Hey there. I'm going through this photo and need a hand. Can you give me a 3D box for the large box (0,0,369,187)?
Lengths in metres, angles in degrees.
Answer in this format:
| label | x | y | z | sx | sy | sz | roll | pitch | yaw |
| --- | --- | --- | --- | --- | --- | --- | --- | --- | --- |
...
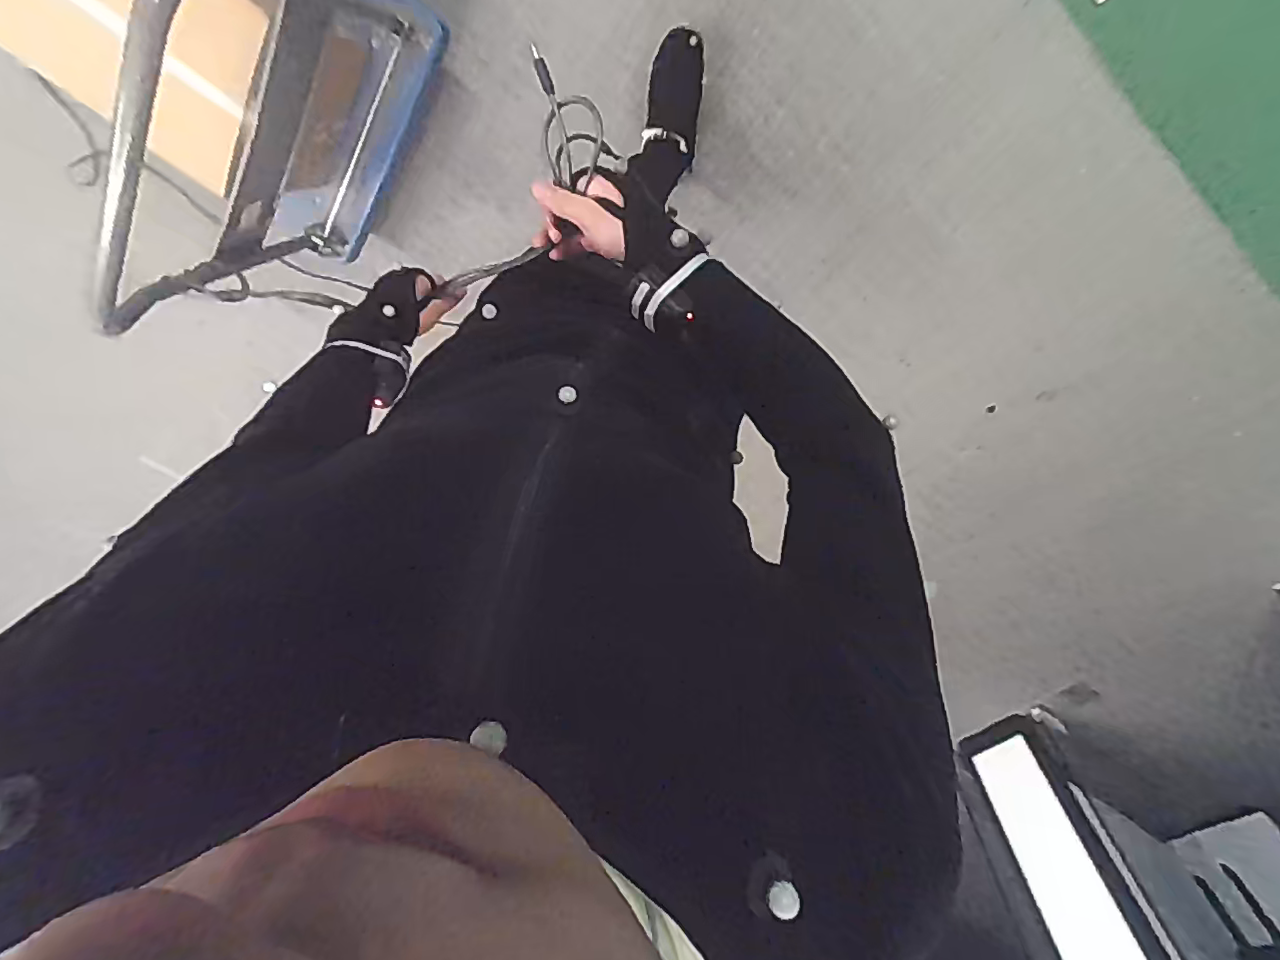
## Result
| label | x | y | z | sx | sy | sz | roll | pitch | yaw |
| --- | --- | --- | --- | --- | --- | --- | --- | --- | --- |
| large box | -0.783 | -0.797 | 0.958 | 0.408 | 0.320 | 0.320 | 35 | 119 | -15 |
